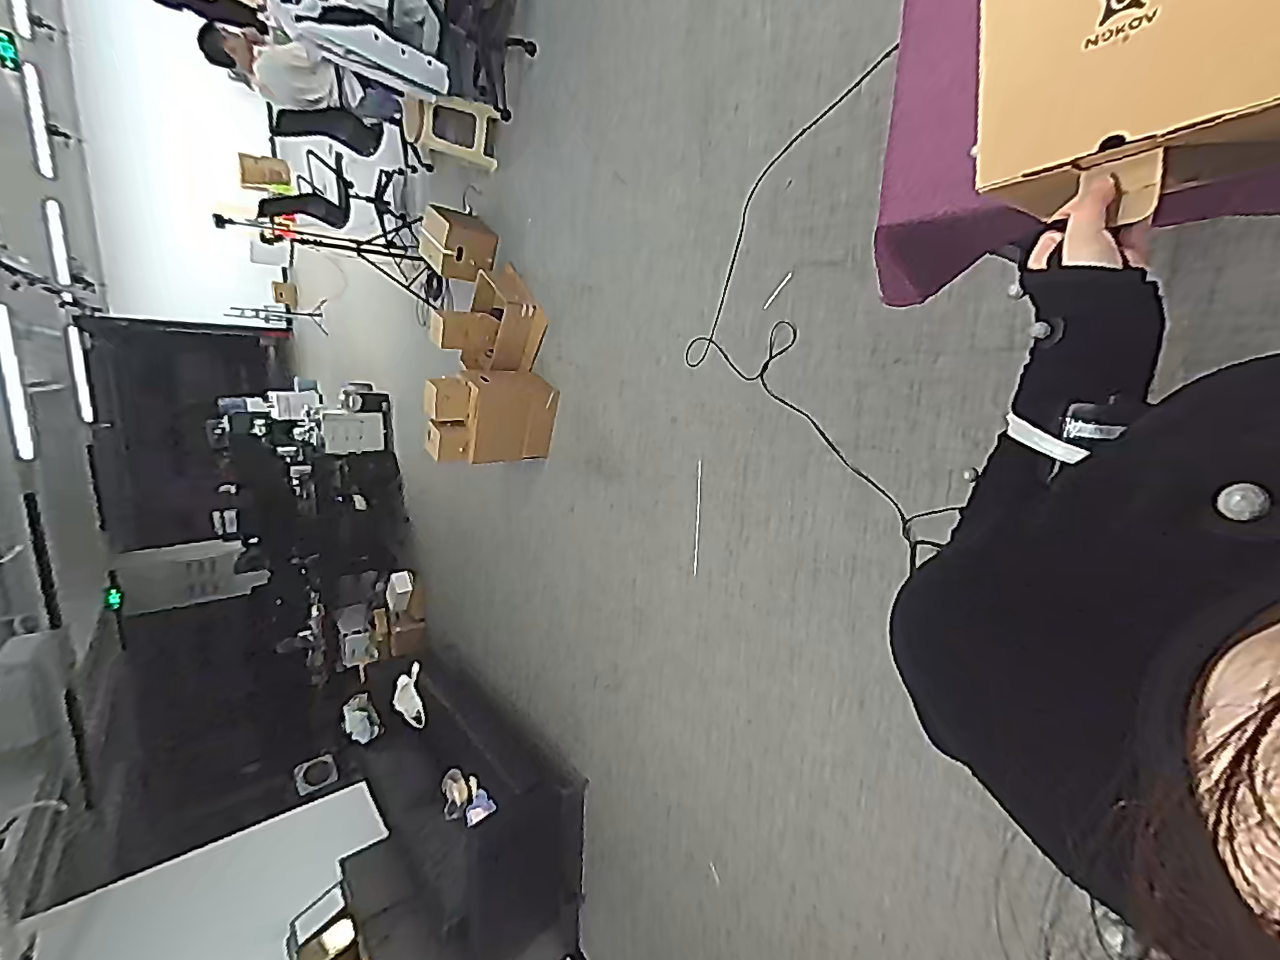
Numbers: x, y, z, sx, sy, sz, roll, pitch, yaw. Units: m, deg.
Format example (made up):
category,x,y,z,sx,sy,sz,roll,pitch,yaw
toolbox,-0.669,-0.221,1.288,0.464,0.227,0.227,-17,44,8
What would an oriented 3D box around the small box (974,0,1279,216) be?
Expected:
category,x,y,z,sx,sy,sz,roll,pitch,yaw
small box,0.381,-0.326,0.417,0.168,0.176,0.179,7,106,50
